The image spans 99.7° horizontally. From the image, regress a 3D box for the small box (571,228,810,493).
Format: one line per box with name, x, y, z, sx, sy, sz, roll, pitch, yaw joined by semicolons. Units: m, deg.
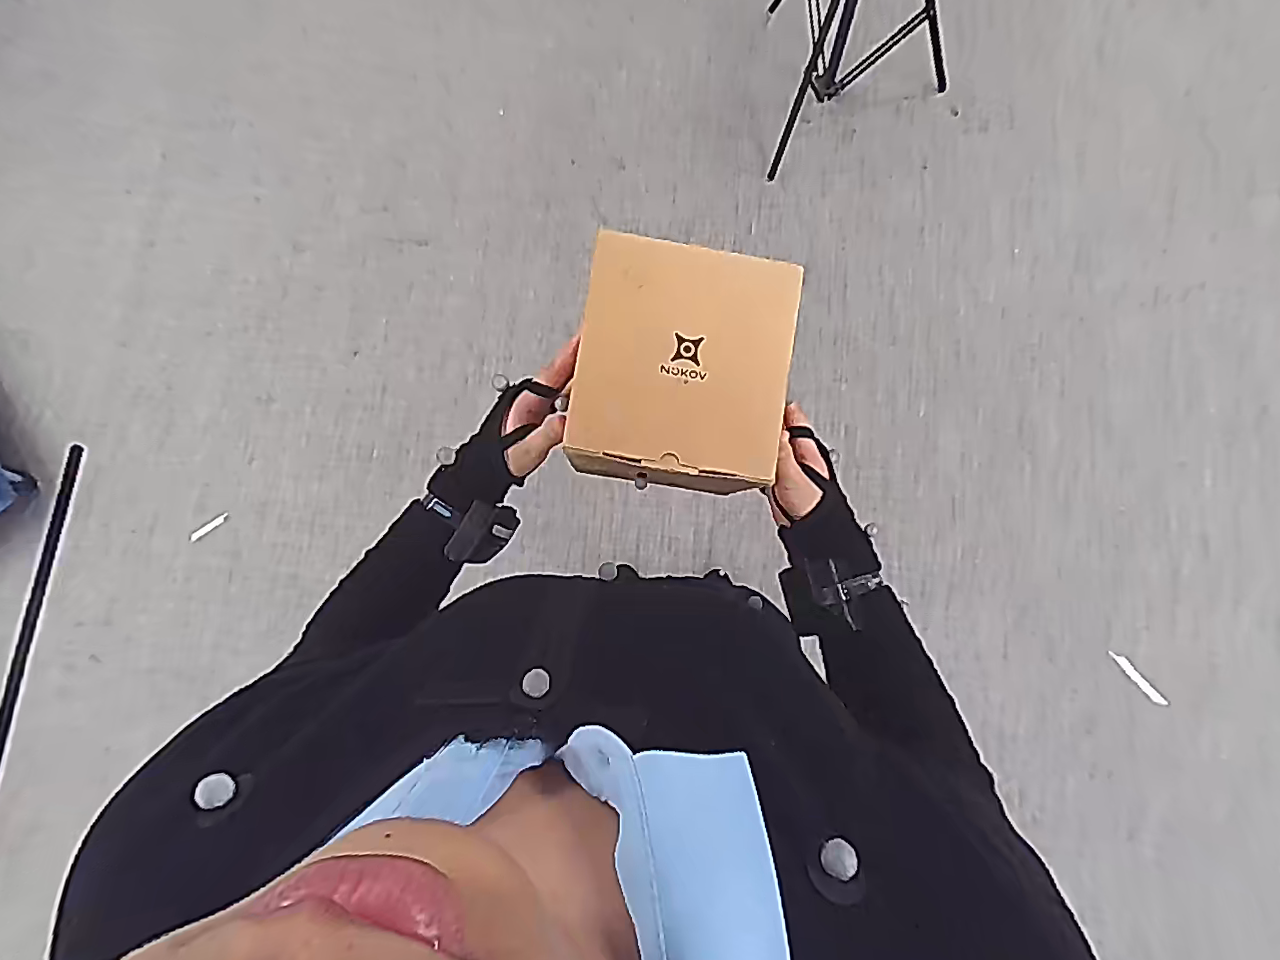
small box;0.035;-0.088;0.486;0.168;0.176;0.179;8;86;-3
